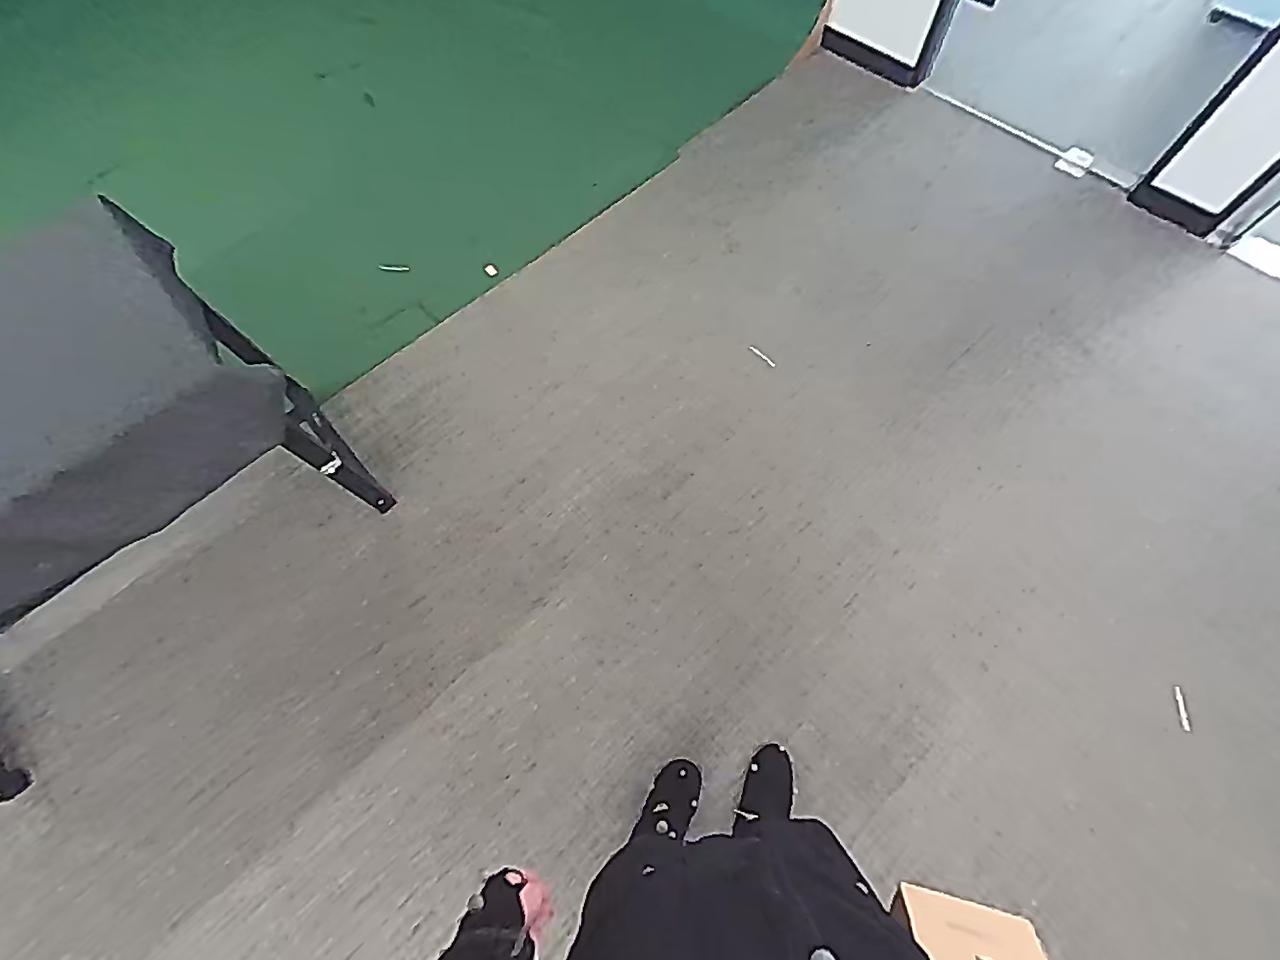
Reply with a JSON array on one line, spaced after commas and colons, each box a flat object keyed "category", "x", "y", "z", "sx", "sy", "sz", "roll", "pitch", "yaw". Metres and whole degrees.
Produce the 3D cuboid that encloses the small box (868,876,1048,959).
[{"category": "small box", "x": 0.392, "y": 0.644, "z": 0.654, "sx": 0.168, "sy": 0.179, "sz": 0.176, "roll": 12, "pitch": 106, "yaw": 9}]
